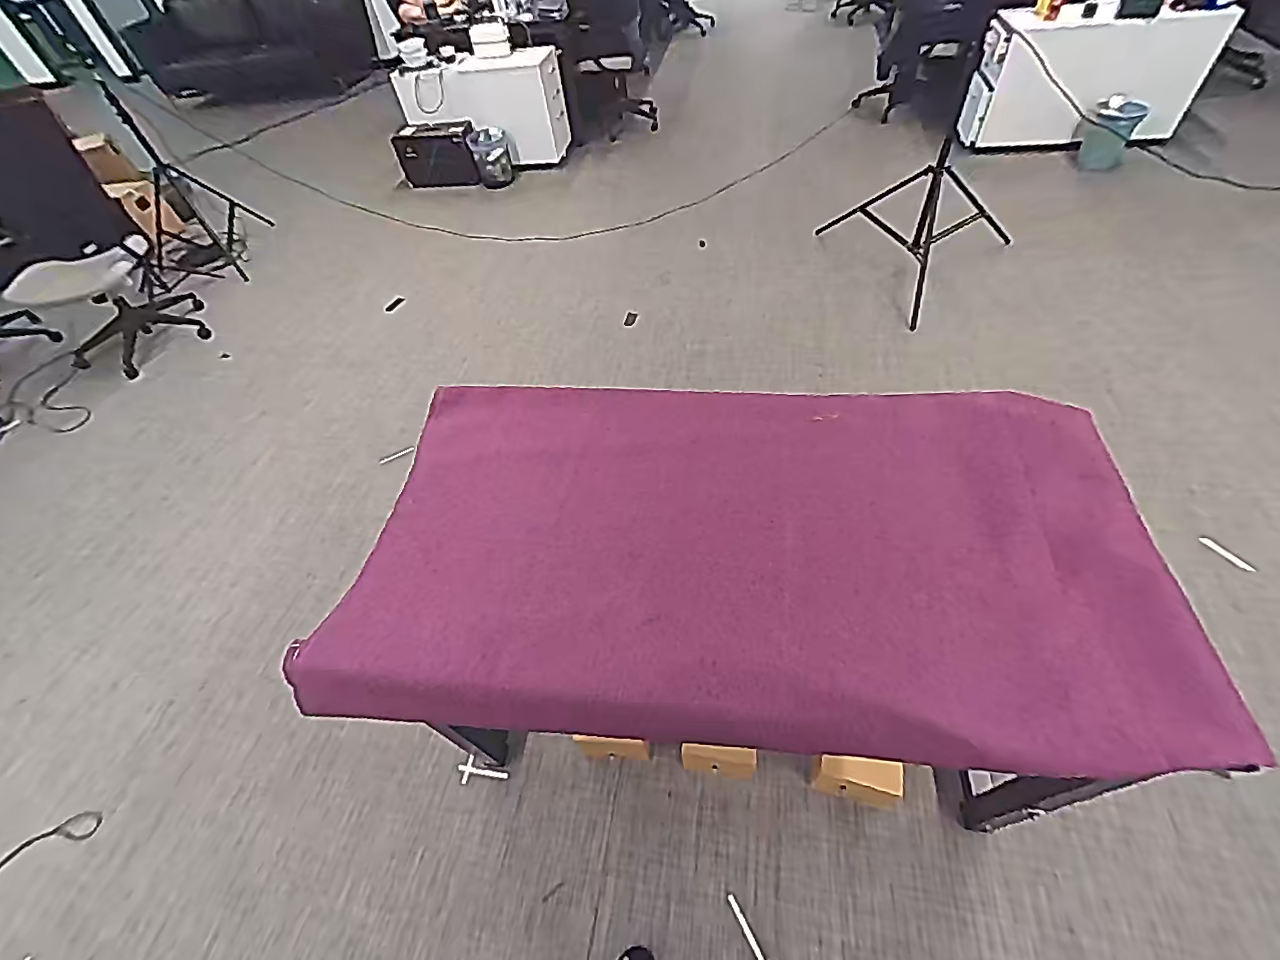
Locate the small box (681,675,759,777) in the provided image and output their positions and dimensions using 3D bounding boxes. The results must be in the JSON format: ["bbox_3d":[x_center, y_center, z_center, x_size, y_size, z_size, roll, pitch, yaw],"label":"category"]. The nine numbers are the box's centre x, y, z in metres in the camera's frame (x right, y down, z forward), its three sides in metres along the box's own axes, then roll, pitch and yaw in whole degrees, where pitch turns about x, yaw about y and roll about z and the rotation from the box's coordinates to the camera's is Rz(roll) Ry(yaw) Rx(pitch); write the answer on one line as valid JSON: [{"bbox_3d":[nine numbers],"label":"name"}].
[{"bbox_3d":[0.196,0.599,1.308,0.168,0.176,0.179,5,51,11],"label":"small box"}]

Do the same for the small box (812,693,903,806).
[{"bbox_3d":[0.498,0.626,1.250,0.168,0.176,0.179,10,52,16],"label":"small box"}]
